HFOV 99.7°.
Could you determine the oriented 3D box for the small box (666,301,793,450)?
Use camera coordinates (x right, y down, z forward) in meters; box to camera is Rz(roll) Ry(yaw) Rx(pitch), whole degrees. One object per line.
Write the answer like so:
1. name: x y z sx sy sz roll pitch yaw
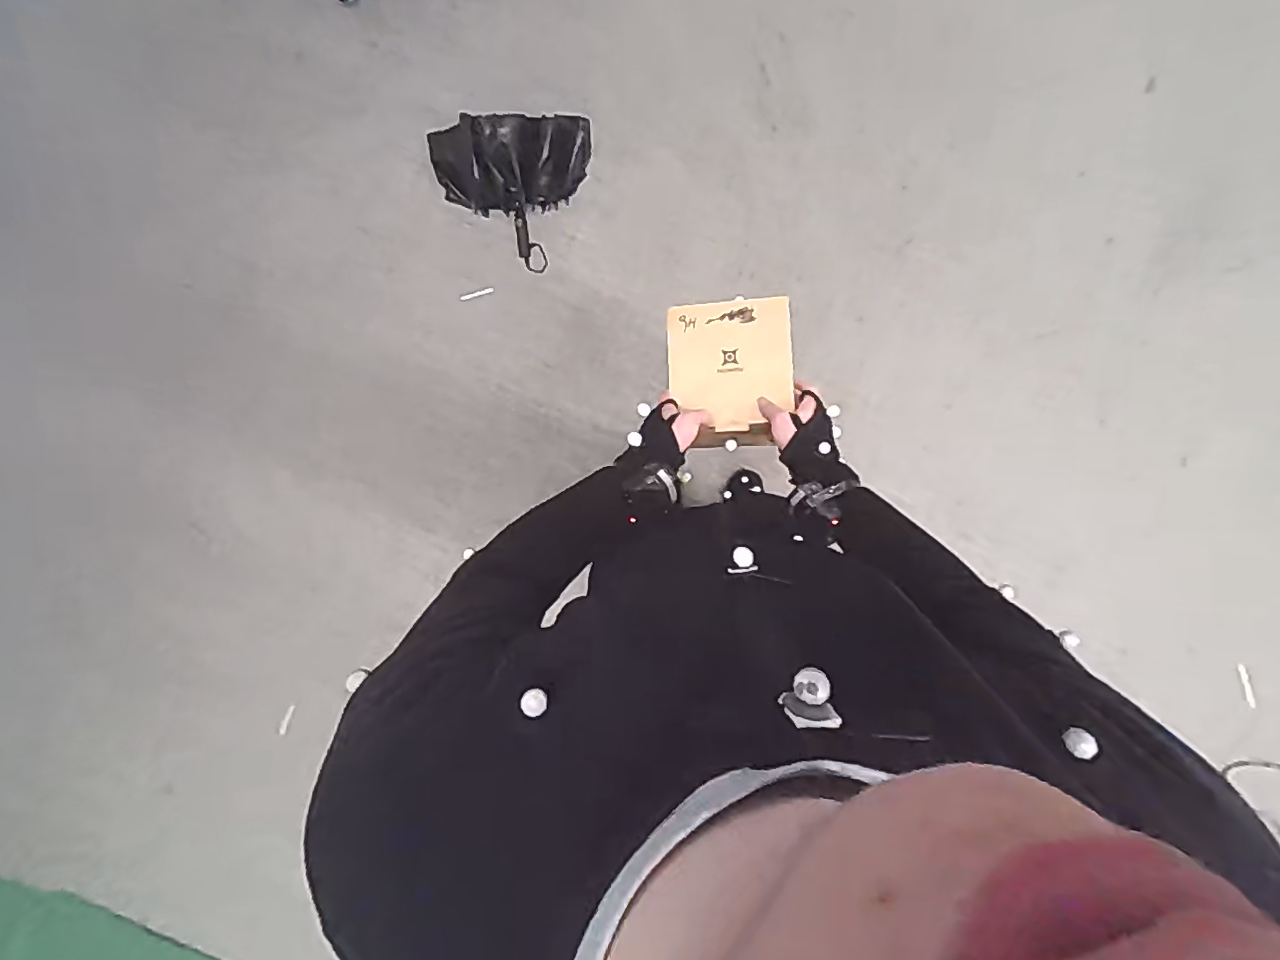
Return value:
1. small box: 0.129 -0.138 0.787 0.168 0.176 0.179 -2 85 9
